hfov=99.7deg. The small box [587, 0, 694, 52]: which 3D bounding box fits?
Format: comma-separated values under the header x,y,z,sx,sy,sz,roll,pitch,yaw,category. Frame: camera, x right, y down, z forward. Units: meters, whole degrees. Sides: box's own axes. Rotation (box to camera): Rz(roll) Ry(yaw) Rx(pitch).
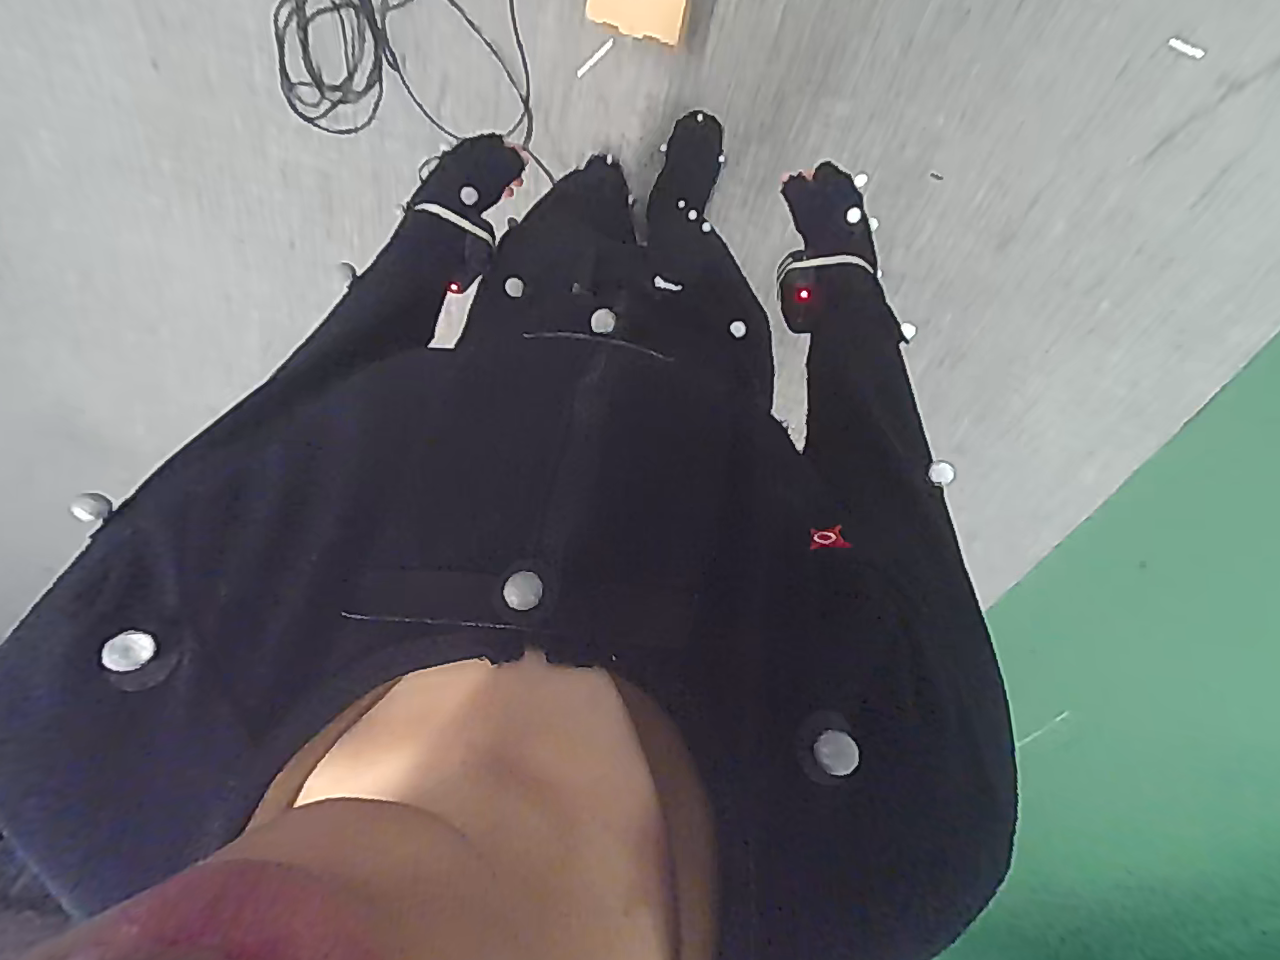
x,y,z,sx,sy,sz,roll,pitch,yaw,category
0.014,-0.880,0.945,0.168,0.176,0.179,14,128,-3,small box
